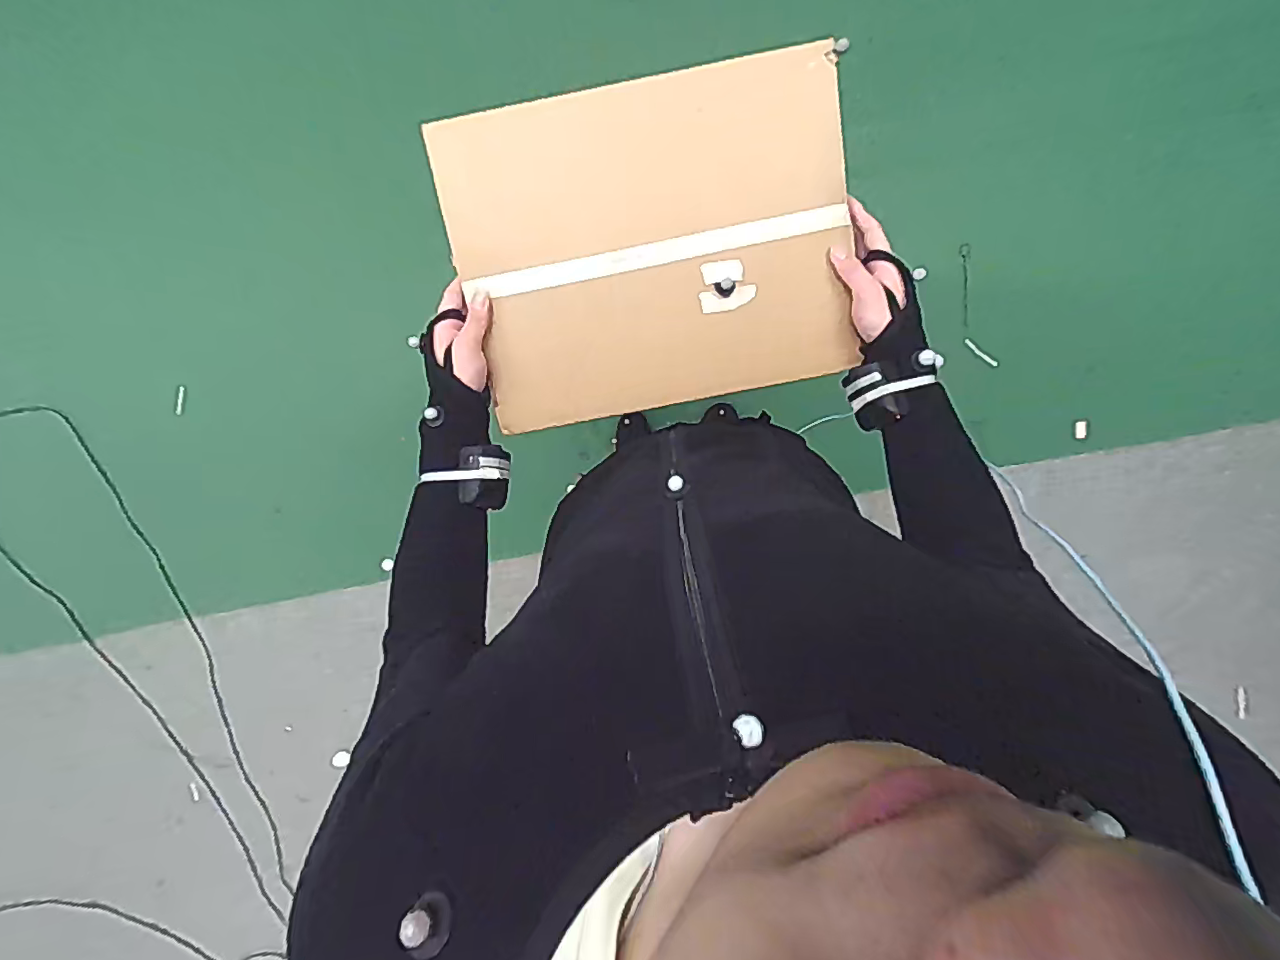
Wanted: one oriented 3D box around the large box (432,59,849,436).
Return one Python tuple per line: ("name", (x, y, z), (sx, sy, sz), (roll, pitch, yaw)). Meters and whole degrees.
("large box", (0.006, -0.266, 0.719), (0.408, 0.320, 0.320), (-11, 104, 1))
